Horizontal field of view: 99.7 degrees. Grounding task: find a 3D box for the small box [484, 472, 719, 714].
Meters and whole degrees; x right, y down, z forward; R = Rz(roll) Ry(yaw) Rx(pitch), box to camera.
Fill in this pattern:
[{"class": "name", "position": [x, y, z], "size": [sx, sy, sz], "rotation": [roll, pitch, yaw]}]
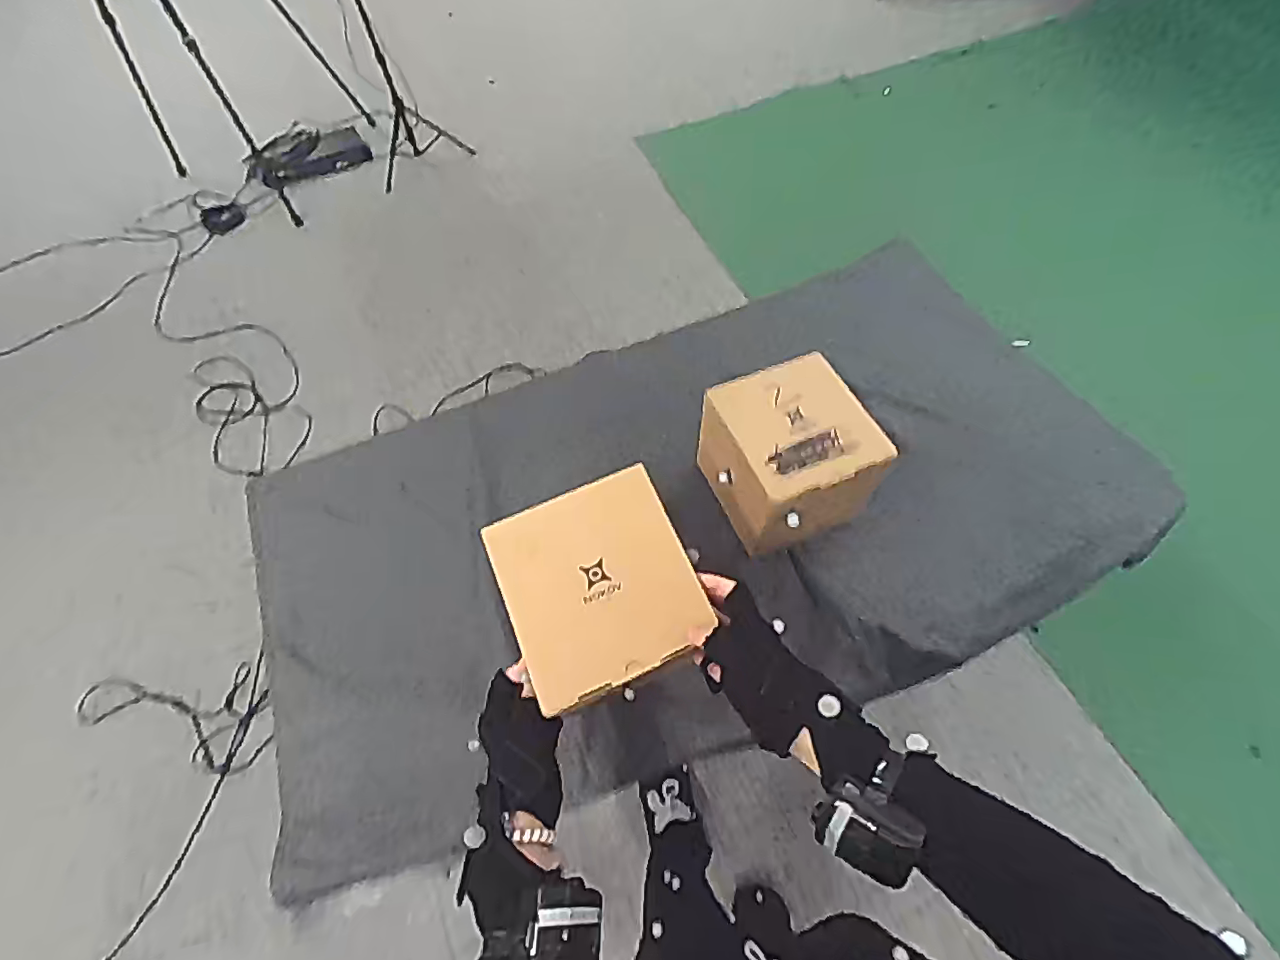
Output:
[{"class": "small box", "position": [-0.039, 0.124, 0.557], "size": [0.168, 0.176, 0.179], "rotation": [-23, 69, -9]}]
